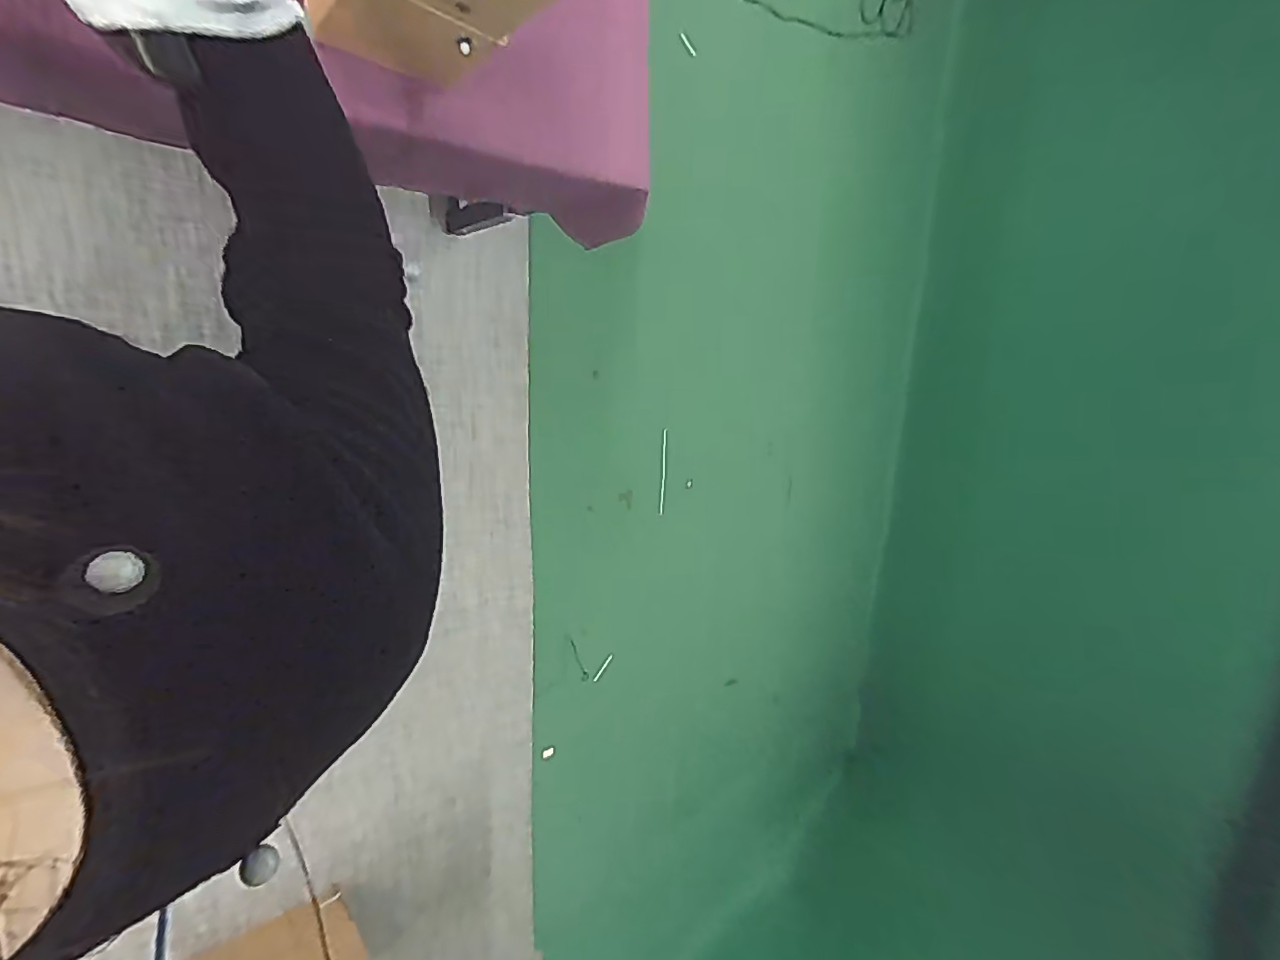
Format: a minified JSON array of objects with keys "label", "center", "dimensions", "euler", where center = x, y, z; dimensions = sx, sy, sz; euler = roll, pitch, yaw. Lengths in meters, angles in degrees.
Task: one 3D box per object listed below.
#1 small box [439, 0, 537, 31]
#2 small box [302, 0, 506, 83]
[{"label":"small box","center":[-0.159,-0.570,0.496],"dimensions":[0.168,0.176,0.179],"euler":[-7,105,-44]},{"label":"small box","center":[-0.273,-0.592,0.613],"dimensions":[0.179,0.176,0.168],"euler":[-10,107,-43]}]
